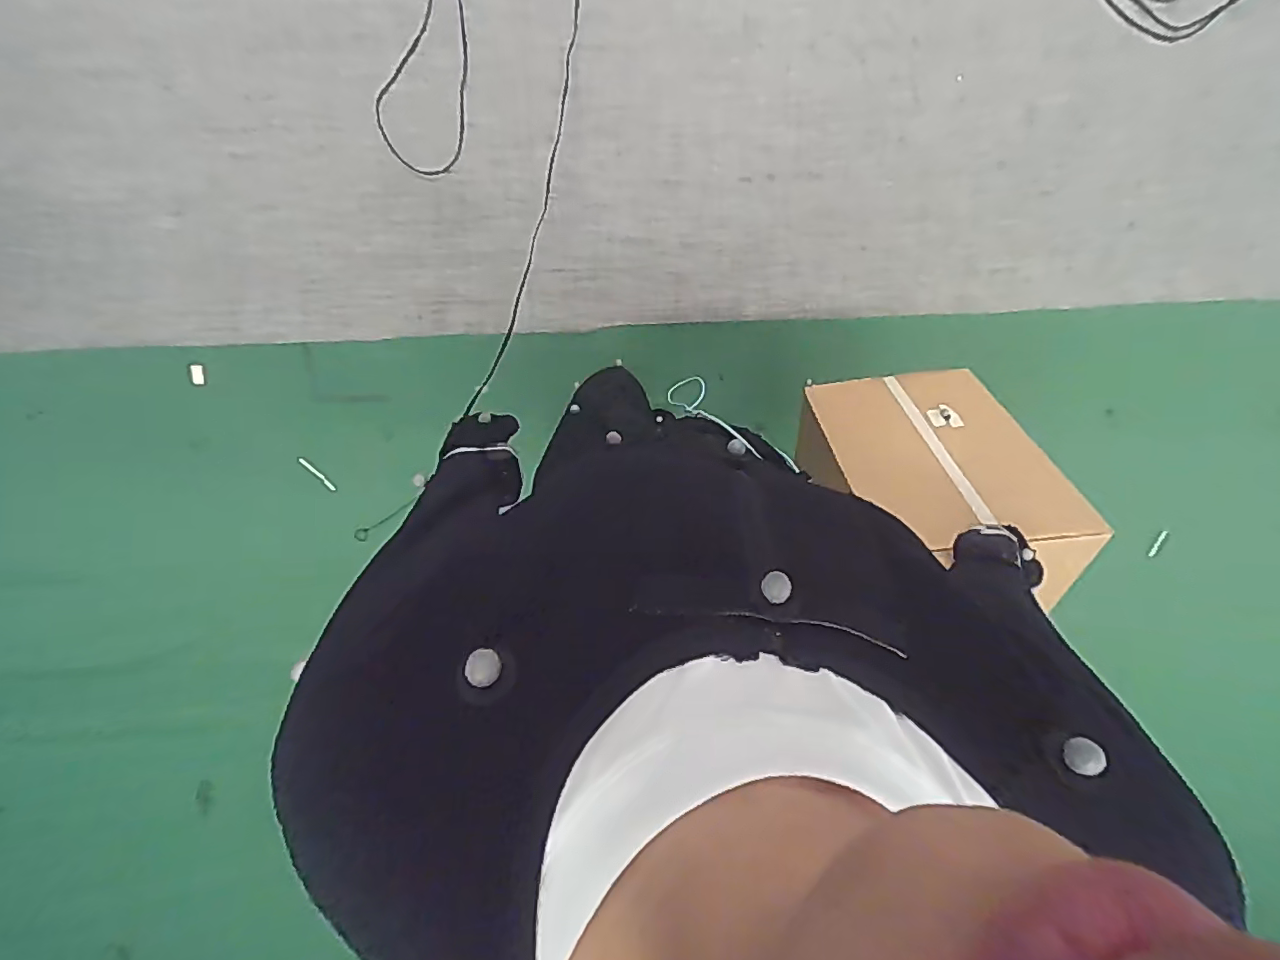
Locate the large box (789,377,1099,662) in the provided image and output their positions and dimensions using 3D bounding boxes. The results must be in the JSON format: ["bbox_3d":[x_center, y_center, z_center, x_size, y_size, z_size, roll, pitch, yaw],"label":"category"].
[{"bbox_3d":[0.487,0.064,0.990,0.320,0.408,0.320,-5,133,1],"label":"large box"}]
